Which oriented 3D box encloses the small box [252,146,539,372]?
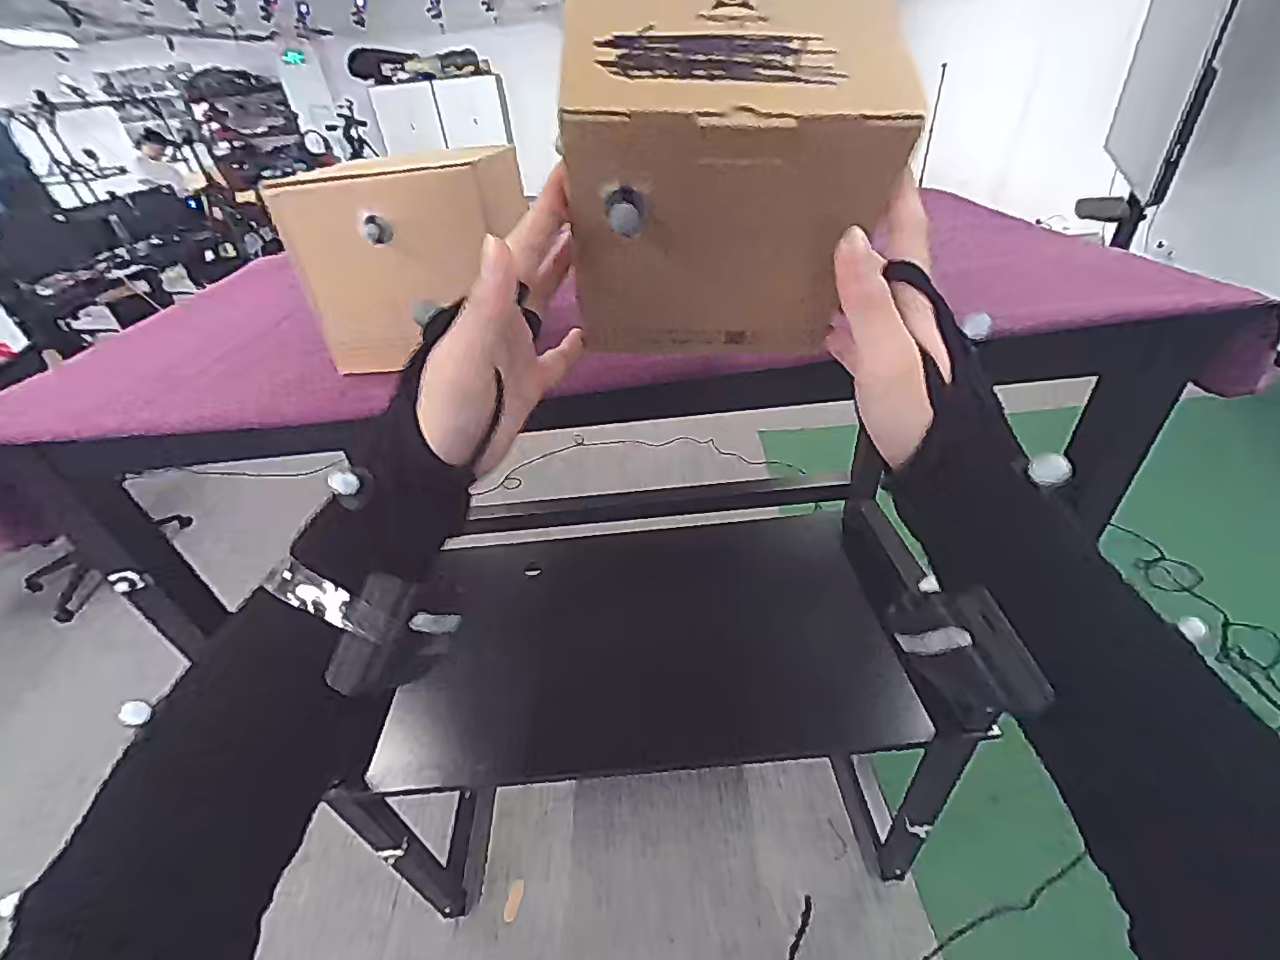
[{"bbox_3d":[-0.212,-0.214,0.528,0.179,0.176,0.168,-4,36,4],"label":"small box"}]
